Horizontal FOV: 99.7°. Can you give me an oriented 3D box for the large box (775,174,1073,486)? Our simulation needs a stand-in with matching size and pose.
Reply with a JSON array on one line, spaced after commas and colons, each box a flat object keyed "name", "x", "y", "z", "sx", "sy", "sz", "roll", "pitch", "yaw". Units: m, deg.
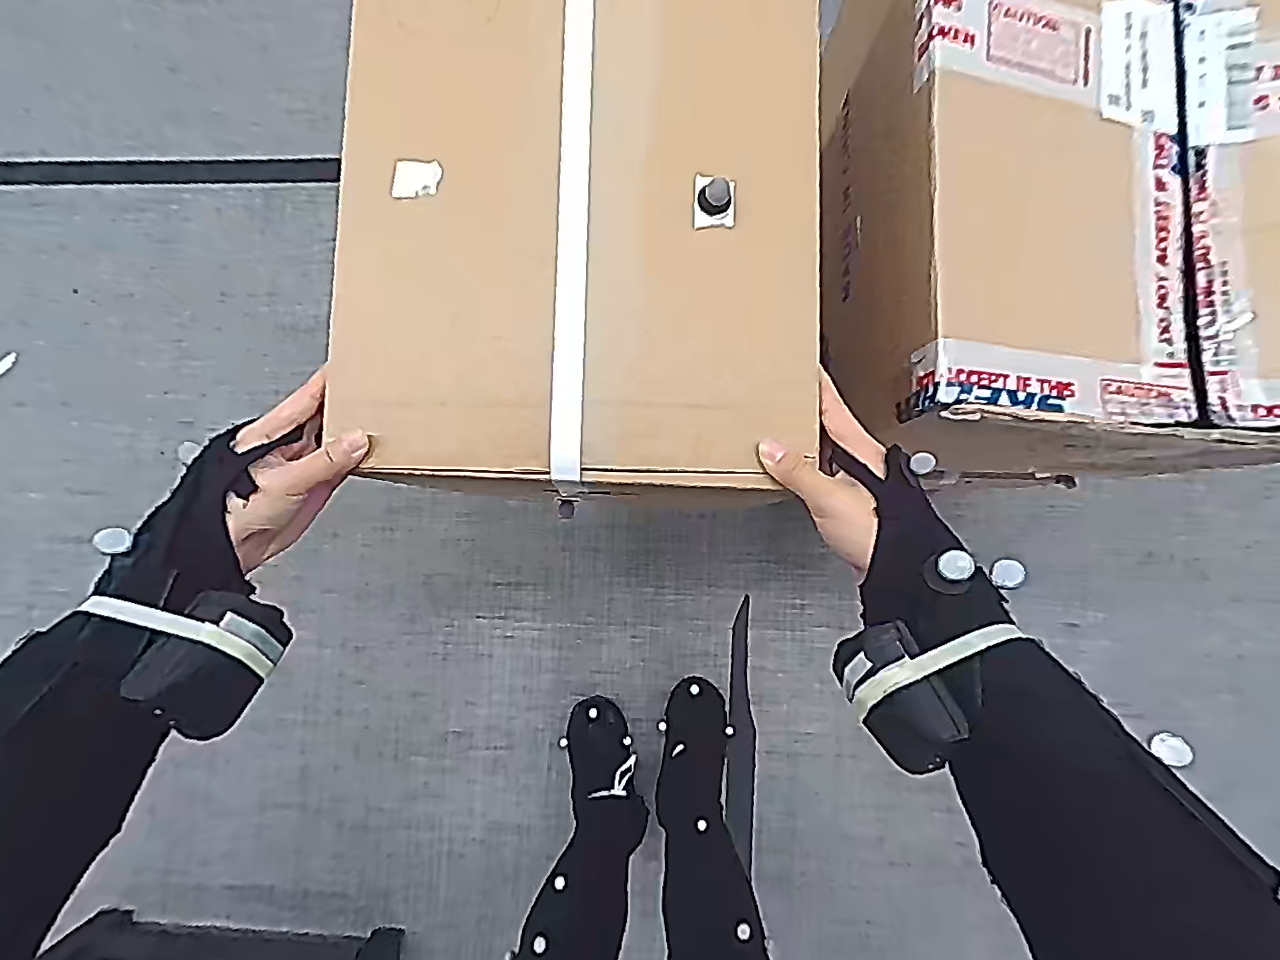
[{"name": "large box", "x": 0.402, "y": -0.198, "z": 0.851, "sx": 0.320, "sy": 0.320, "sz": 0.408, "roll": 0, "pitch": 87, "yaw": 2}]
